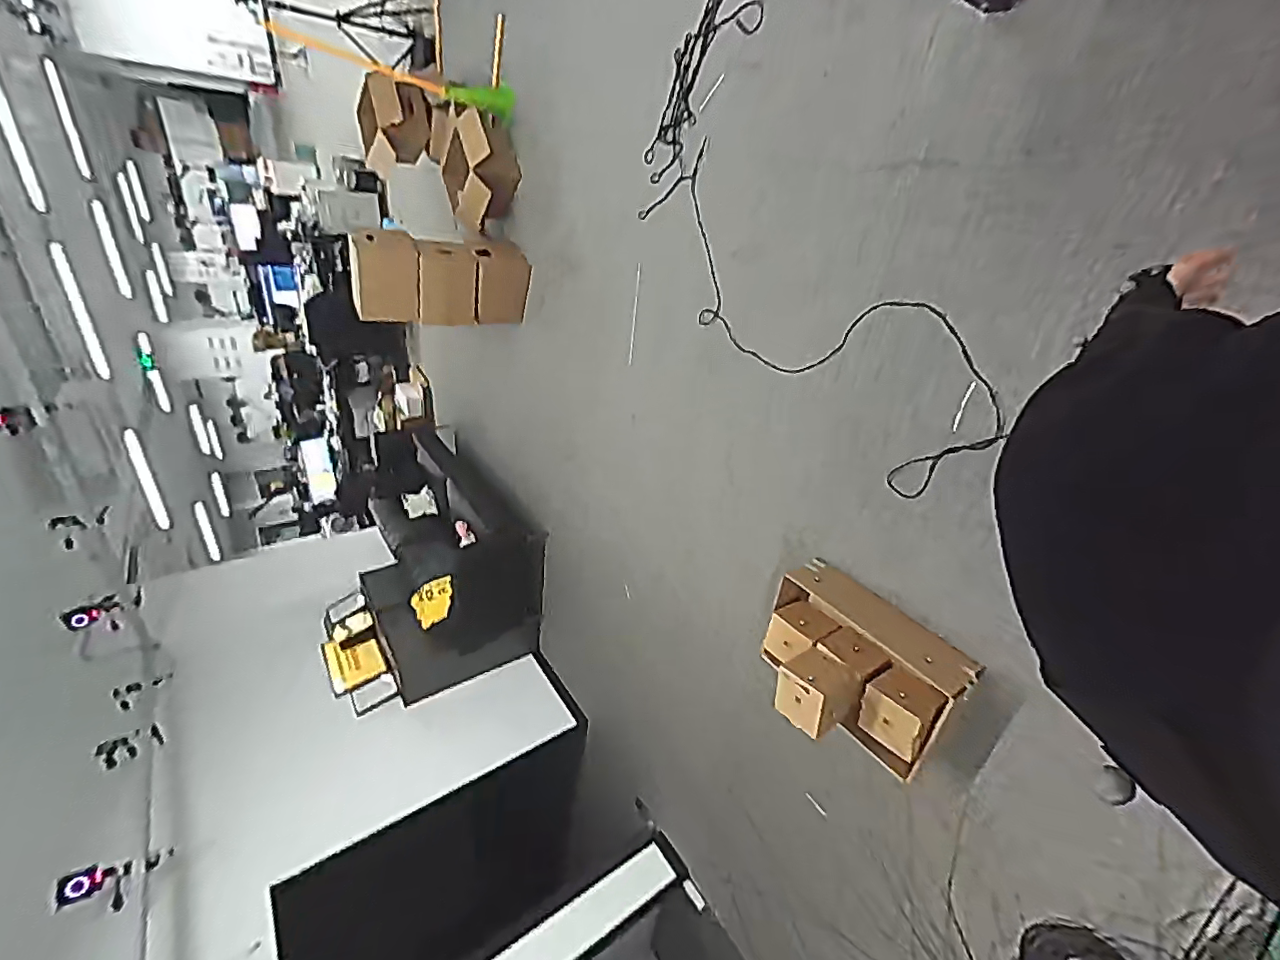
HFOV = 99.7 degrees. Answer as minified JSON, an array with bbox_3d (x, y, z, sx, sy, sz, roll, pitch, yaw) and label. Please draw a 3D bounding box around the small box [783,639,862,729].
[{"bbox_3d":[0.580,0.641,1.717,0.168,0.176,0.179,27,124,48],"label":"small box"}]
